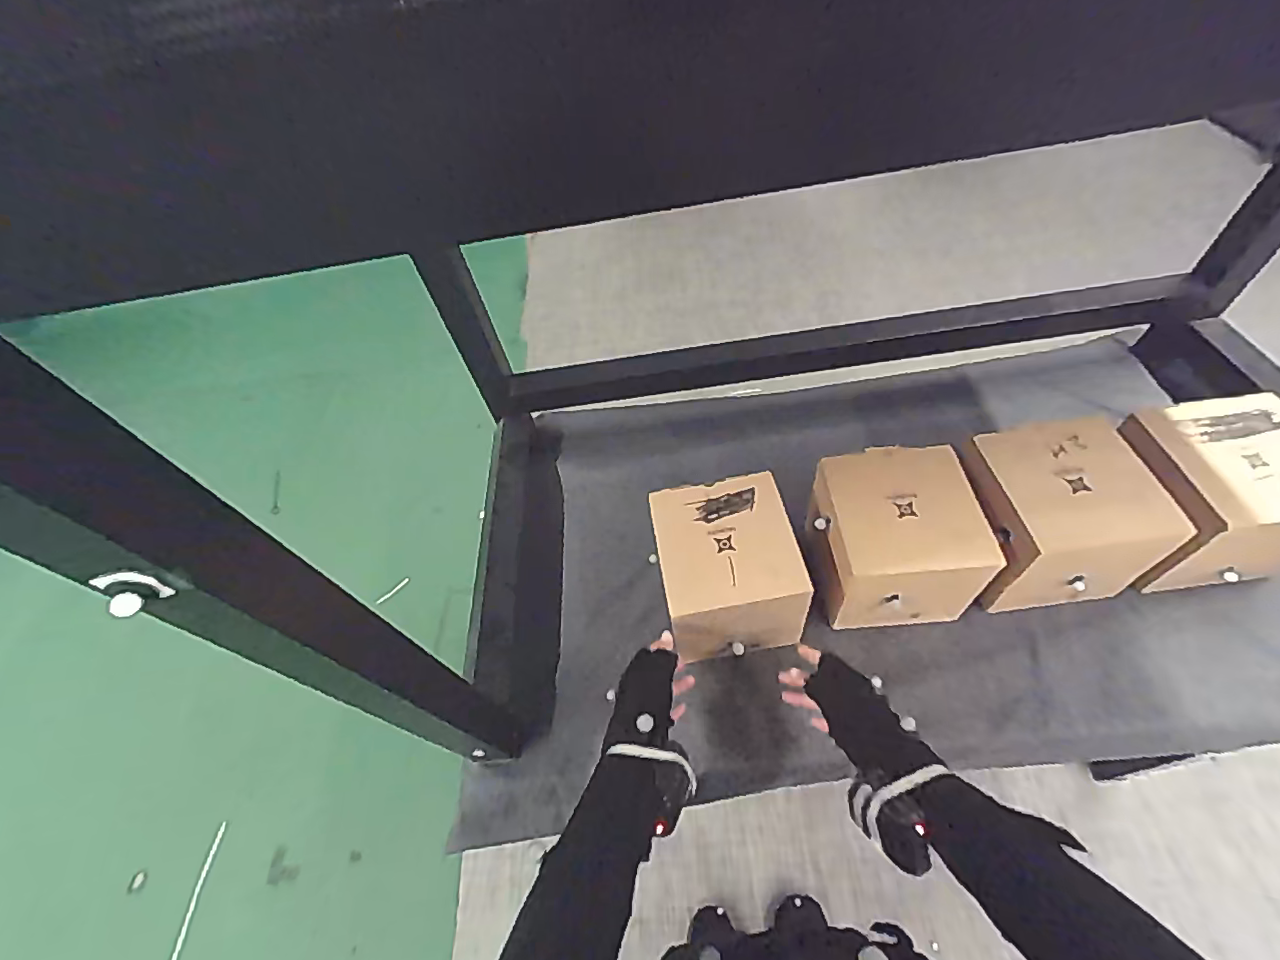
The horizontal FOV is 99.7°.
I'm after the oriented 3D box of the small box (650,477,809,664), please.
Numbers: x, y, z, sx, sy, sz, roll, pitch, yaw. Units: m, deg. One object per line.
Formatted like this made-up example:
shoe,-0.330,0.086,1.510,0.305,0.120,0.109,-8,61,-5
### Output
small box,0.111,0.125,0.728,0.168,0.176,0.179,-11,53,1
